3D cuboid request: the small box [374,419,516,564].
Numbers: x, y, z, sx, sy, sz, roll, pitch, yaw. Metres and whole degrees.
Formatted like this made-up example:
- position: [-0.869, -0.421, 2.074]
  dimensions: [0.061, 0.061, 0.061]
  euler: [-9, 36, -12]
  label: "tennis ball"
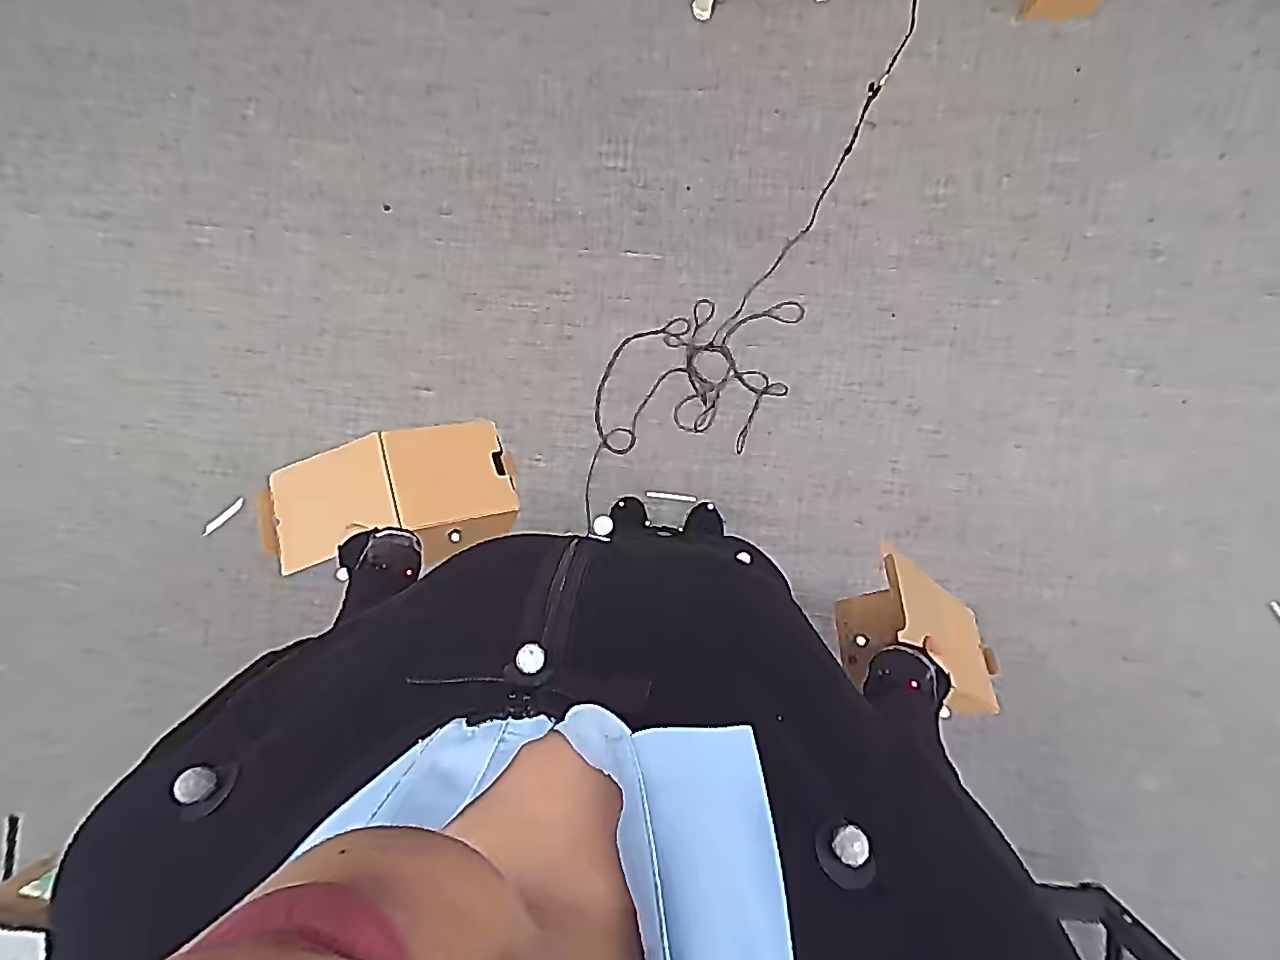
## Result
- position: [-0.317, 0.022, 0.869]
  dimensions: [0.179, 0.176, 0.168]
  euler: [-10, 68, -30]
  label: "small box"
